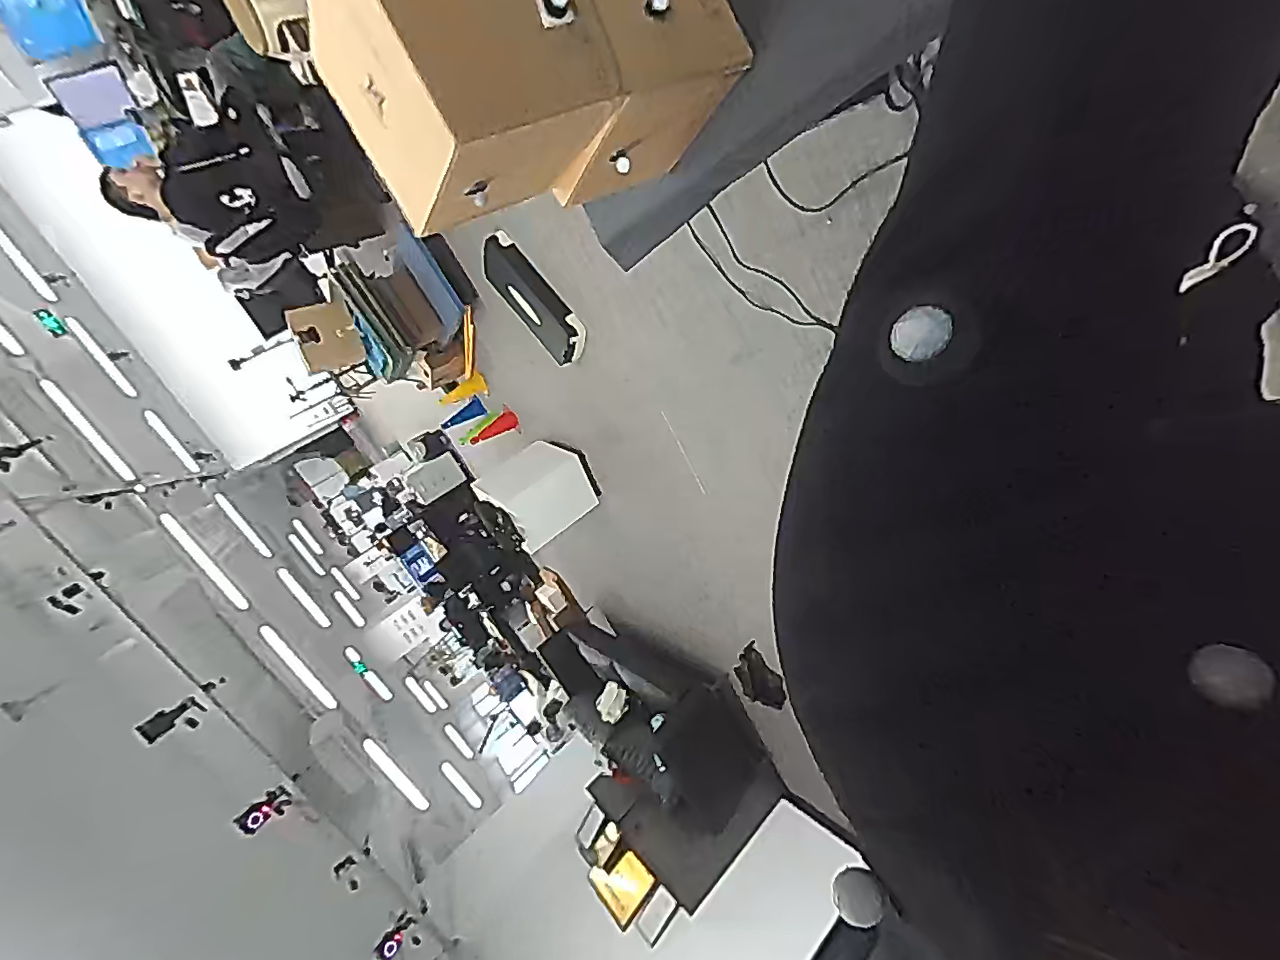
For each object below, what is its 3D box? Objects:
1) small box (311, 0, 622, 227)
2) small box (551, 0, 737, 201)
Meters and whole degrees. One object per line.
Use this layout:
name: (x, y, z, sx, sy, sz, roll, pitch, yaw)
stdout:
small box: (-0.144, -0.350, 0.456, 0.179, 0.176, 0.168, 0, 123, 59)
small box: (-0.027, -0.426, 0.541, 0.168, 0.176, 0.179, 58, 155, -9)
